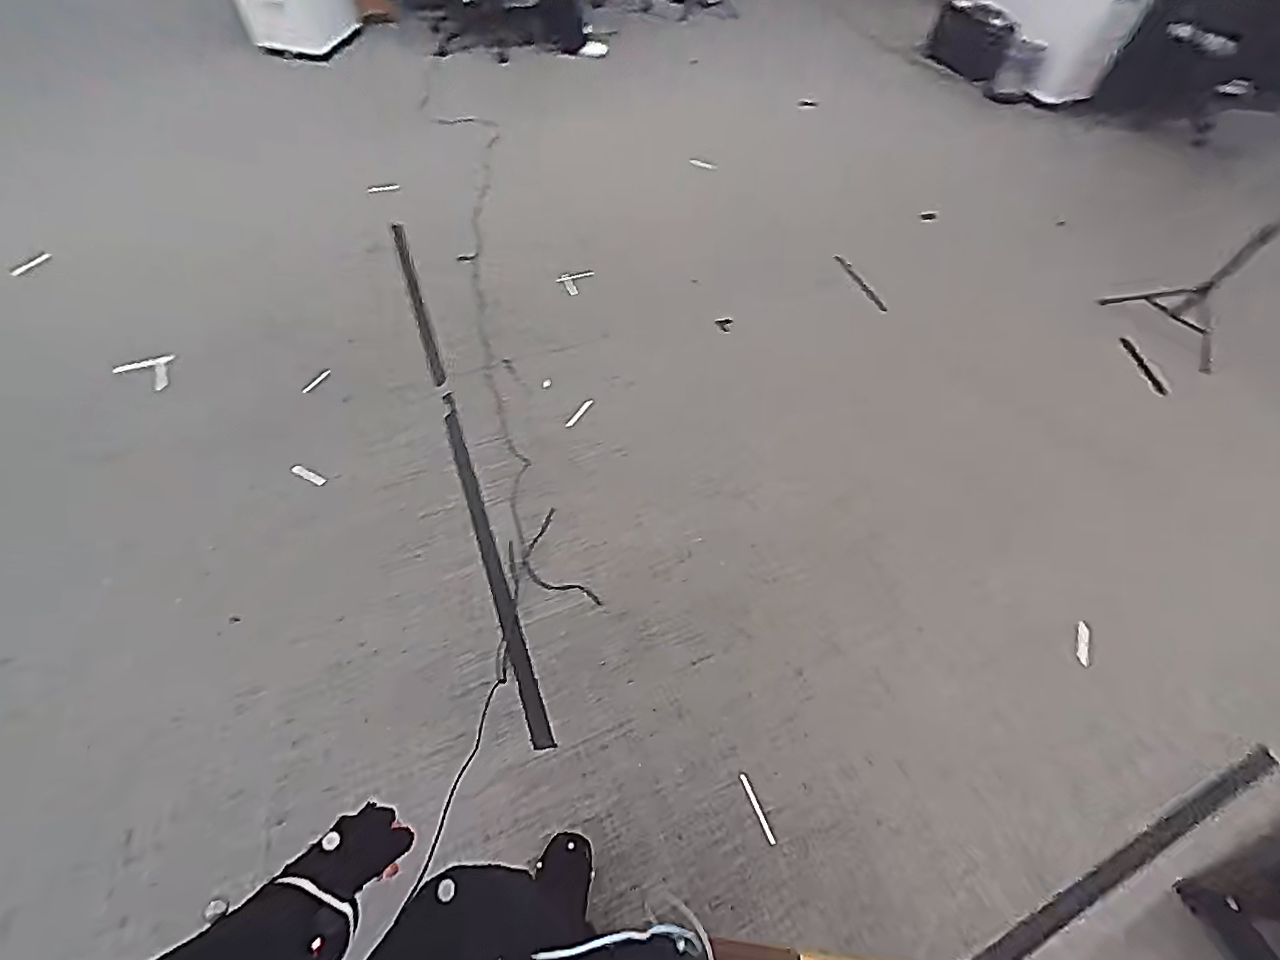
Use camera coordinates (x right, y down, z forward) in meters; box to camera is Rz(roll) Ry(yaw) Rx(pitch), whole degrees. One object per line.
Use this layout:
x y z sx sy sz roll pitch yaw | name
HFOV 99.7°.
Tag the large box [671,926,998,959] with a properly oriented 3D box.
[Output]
0.242 0.775 0.673 0.320 0.408 0.320 15 51 -9 | large box
